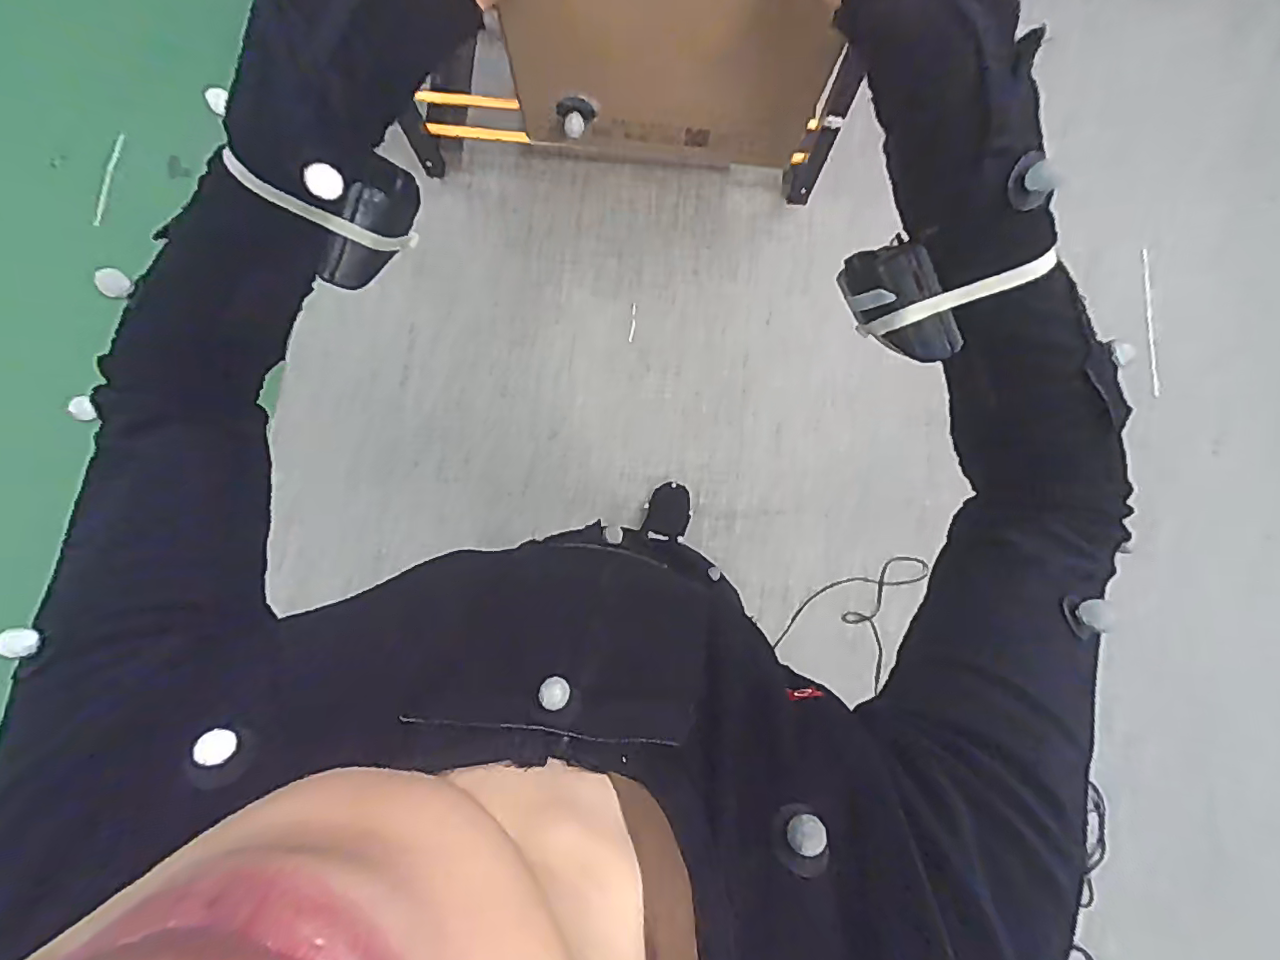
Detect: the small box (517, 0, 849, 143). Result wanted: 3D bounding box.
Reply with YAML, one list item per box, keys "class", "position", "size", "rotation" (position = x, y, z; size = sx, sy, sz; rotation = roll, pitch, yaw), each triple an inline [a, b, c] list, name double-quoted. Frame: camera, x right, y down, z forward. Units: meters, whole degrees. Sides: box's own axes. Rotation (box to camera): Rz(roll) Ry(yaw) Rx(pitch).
- class: "small box"
  position: [0.026, -0.307, 0.268]
  size: [0.168, 0.176, 0.179]
  rotation: [5, 83, -2]
